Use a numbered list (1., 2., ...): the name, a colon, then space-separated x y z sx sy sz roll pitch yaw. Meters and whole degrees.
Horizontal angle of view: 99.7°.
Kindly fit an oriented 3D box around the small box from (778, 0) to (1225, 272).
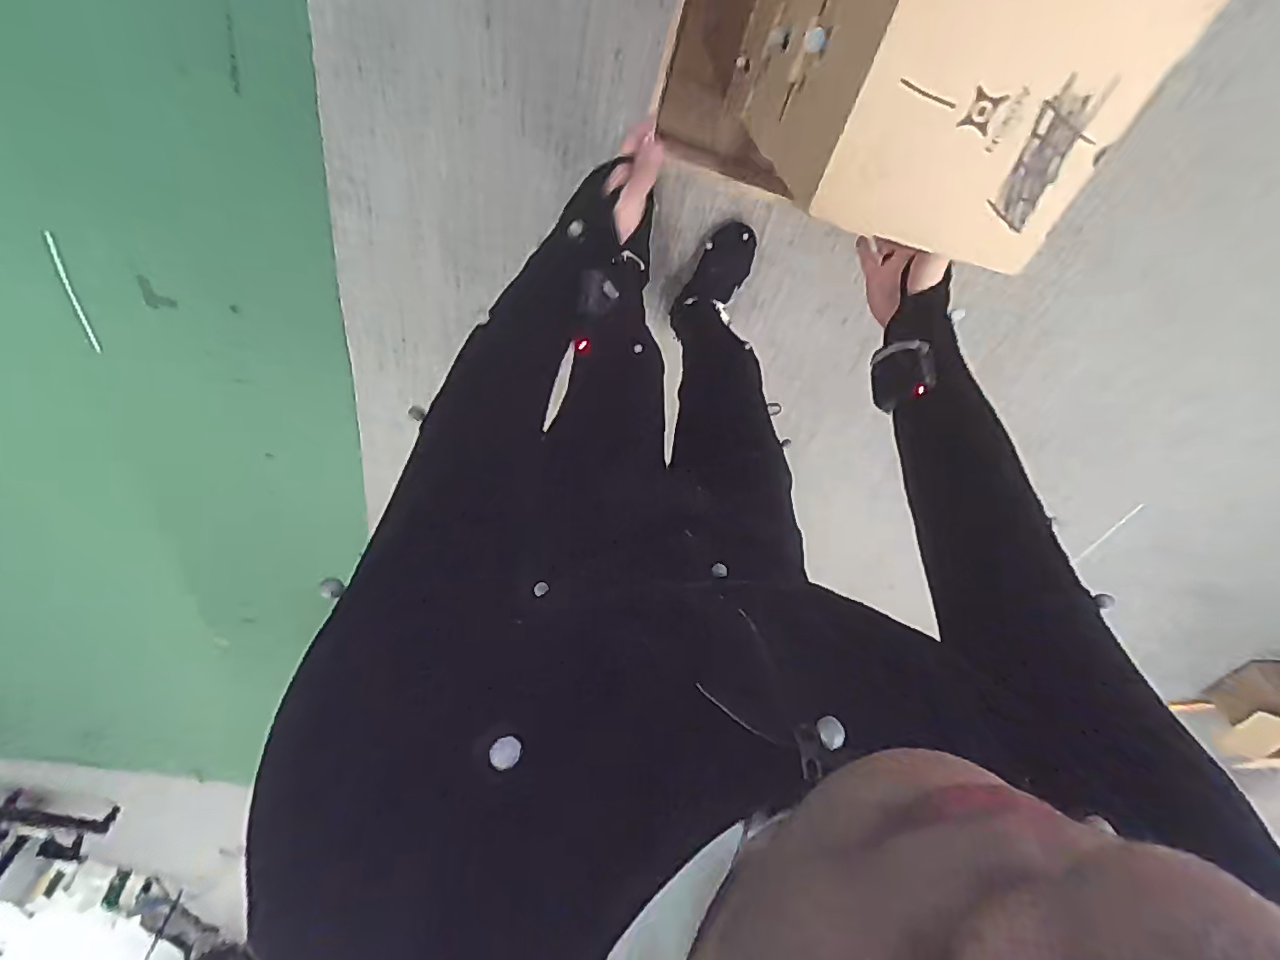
1. small box: 0.223 -0.283 0.395 0.179 0.176 0.168 12 132 -9

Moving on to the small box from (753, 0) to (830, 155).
1. small box: 0.223 -0.393 0.517 0.179 0.176 0.168 13 132 -10

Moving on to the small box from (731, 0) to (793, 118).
1. small box: 0.223 -0.504 0.638 0.179 0.176 0.168 13 131 -13
